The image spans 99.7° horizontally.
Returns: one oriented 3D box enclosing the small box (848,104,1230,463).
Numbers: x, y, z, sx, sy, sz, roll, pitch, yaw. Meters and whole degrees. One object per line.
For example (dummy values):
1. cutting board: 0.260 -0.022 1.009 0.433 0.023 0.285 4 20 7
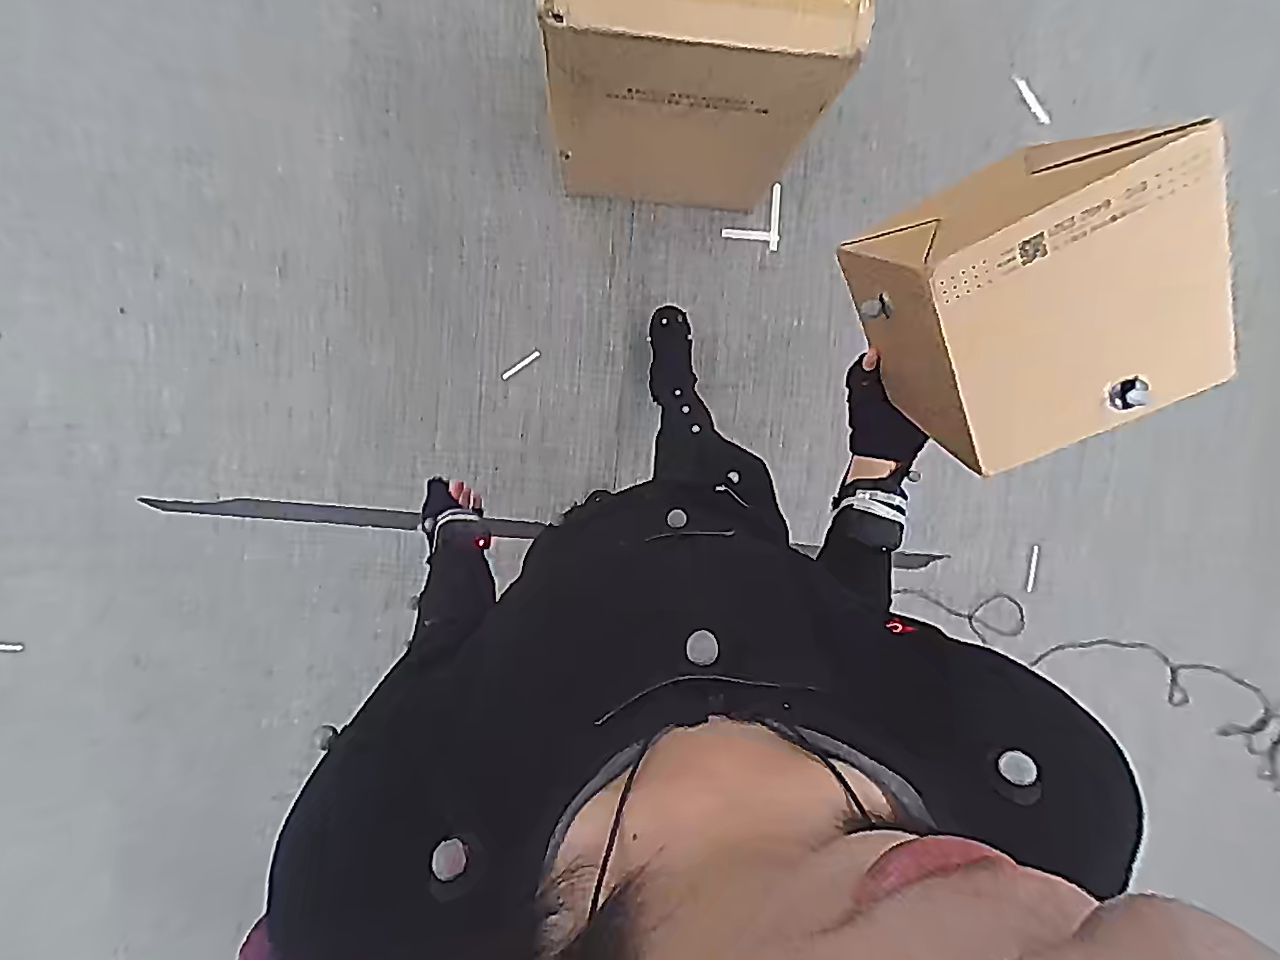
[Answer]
1. small box: 0.281 -0.149 0.412 0.168 0.179 0.176 -26 114 14
